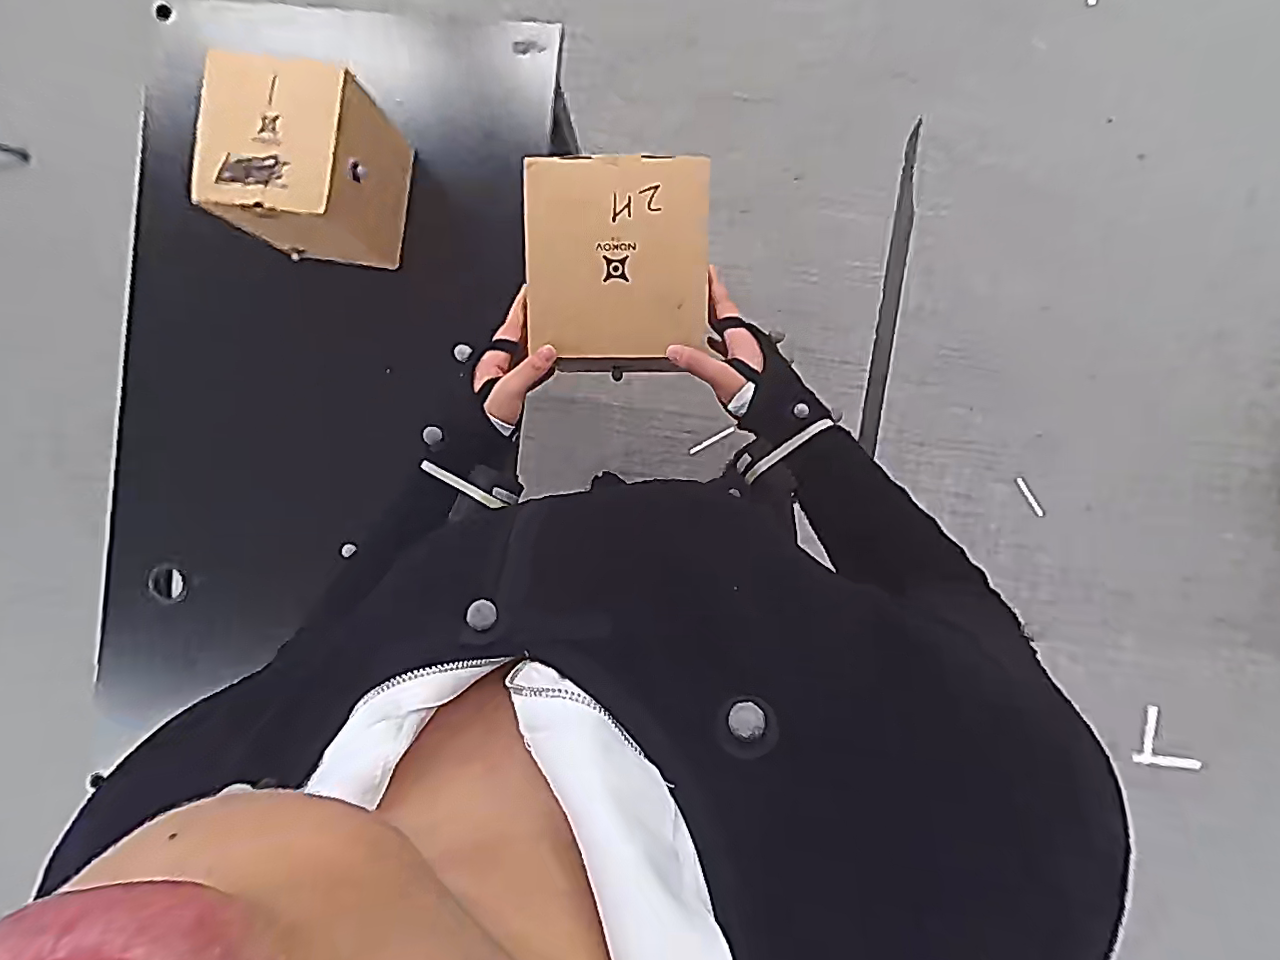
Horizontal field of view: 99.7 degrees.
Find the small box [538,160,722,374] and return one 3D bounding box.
[{"bbox_3d":[-0.010,-0.207,0.571,0.168,0.176,0.179,2,96,0],"label":"small box"}]

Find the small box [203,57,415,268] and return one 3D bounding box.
[{"bbox_3d":[-0.417,-0.398,0.708,0.168,0.176,0.179,9,91,3],"label":"small box"}]
